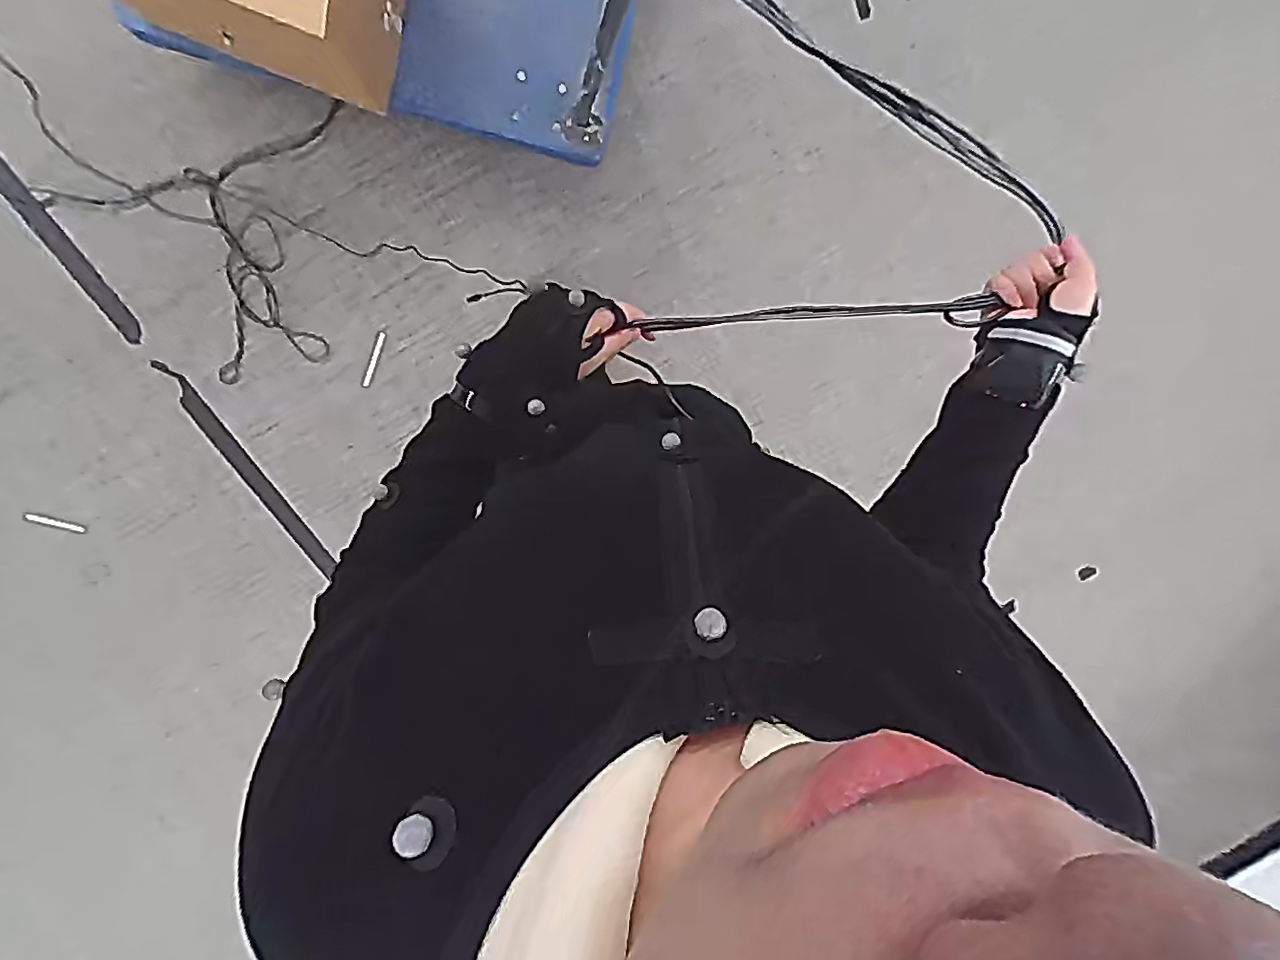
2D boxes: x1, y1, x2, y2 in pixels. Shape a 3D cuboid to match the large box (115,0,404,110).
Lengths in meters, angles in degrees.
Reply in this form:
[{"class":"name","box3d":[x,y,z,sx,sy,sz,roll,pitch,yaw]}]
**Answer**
[{"class":"large box","box3d":[-0.600,-0.838,0.806,0.408,0.320,0.320,15,103,-14]}]
